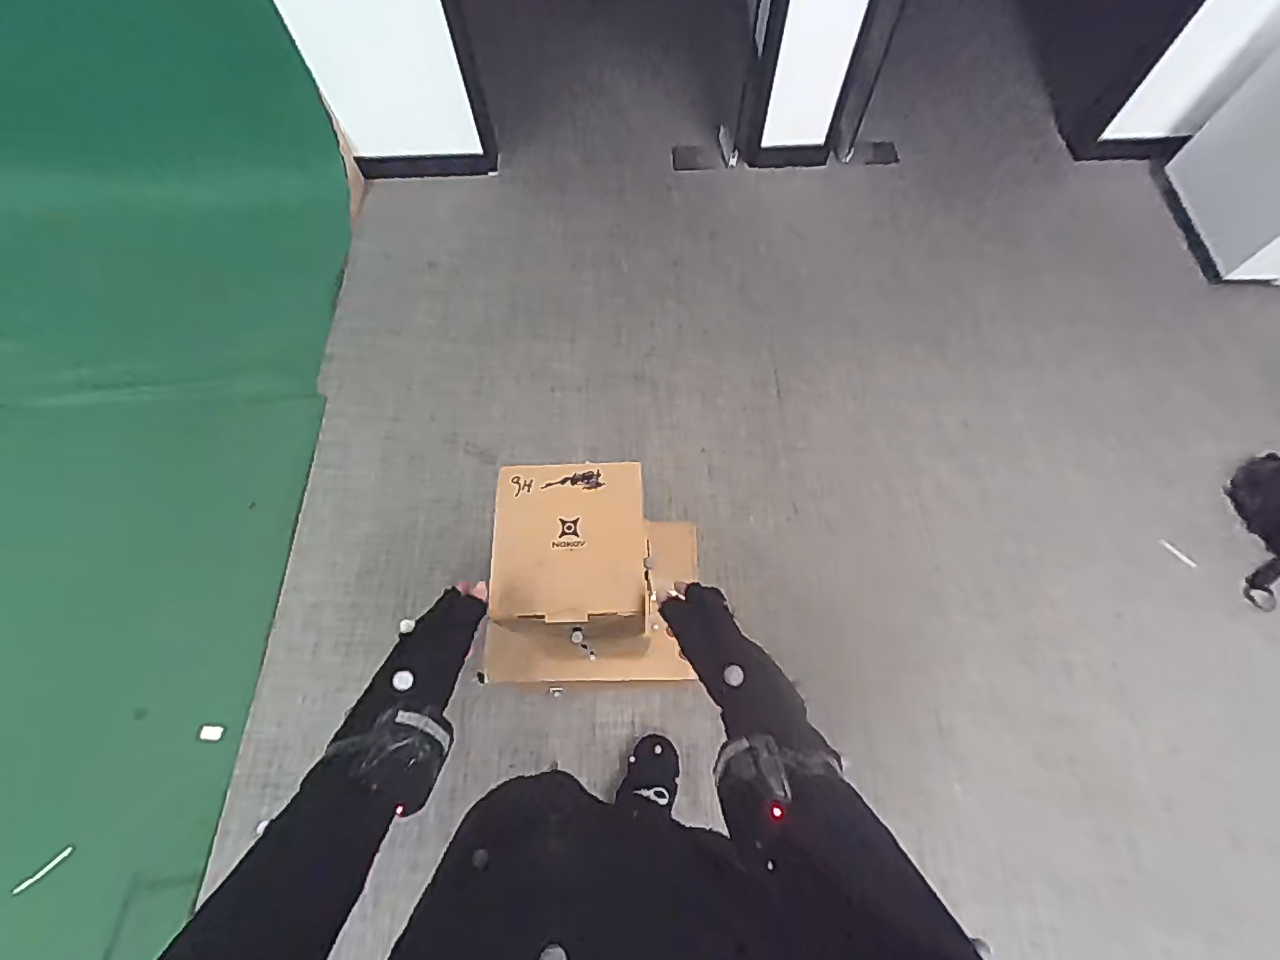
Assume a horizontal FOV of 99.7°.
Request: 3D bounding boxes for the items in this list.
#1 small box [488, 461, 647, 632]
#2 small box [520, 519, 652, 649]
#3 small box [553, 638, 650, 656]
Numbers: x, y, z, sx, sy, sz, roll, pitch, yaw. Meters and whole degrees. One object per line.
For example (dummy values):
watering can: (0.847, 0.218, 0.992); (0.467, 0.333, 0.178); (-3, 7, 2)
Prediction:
small box: (-0.078, 0.091, 0.665); (0.168, 0.176, 0.179); (-3, 69, 1)
small box: (-0.071, 0.161, 0.812); (0.179, 0.176, 0.168); (-2, 67, 2)
small box: (-0.072, 0.220, 0.965); (0.179, 0.176, 0.168); (-2, 68, 0)
